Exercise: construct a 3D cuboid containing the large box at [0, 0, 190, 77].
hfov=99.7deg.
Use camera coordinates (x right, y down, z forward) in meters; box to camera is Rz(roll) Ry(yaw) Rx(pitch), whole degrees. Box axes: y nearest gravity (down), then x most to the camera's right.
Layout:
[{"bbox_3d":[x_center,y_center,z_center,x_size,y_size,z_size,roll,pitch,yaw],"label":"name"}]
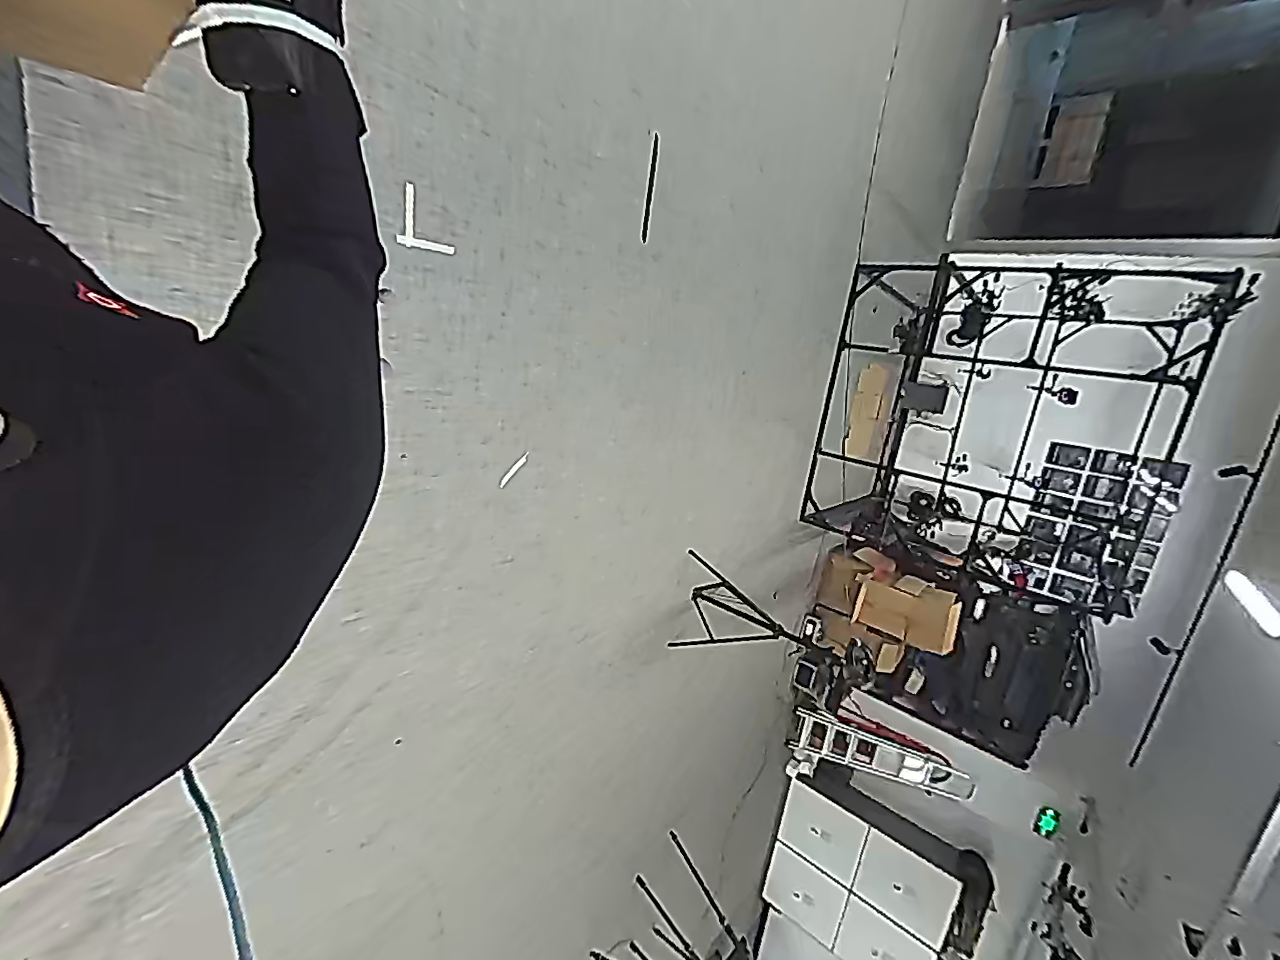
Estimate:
[{"bbox_3d":[-0.481,-0.468,0.237,0.408,0.320,0.320,-14,110,-50],"label":"large box"}]
